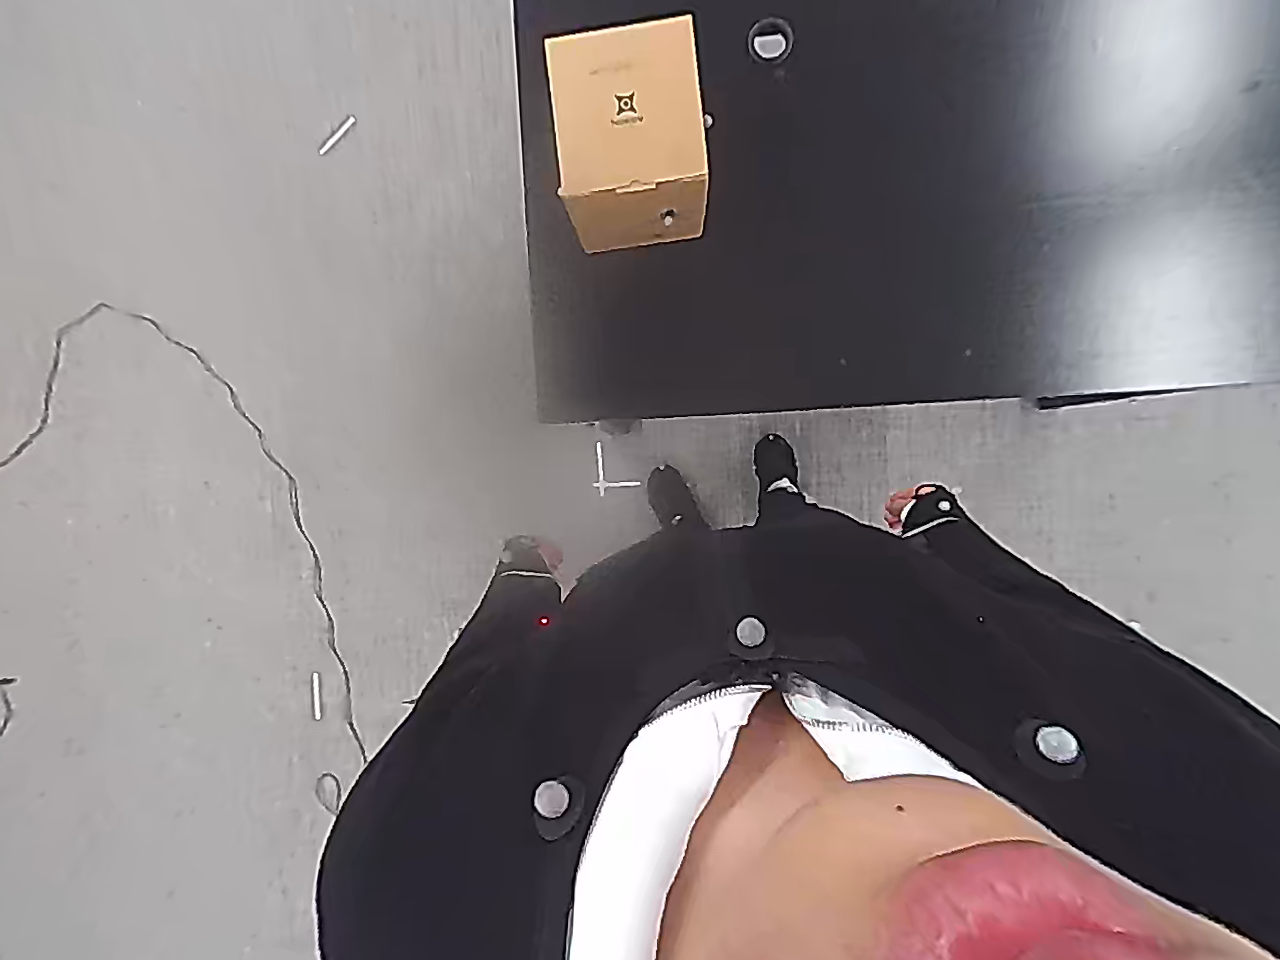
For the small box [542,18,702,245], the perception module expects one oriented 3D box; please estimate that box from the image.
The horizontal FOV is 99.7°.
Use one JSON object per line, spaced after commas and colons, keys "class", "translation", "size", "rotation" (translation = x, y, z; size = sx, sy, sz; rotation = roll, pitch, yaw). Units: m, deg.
{"class": "small box", "translation": [-0.015, -0.415, 0.680], "size": [0.168, 0.176, 0.179], "rotation": [-7, 91, 3]}
